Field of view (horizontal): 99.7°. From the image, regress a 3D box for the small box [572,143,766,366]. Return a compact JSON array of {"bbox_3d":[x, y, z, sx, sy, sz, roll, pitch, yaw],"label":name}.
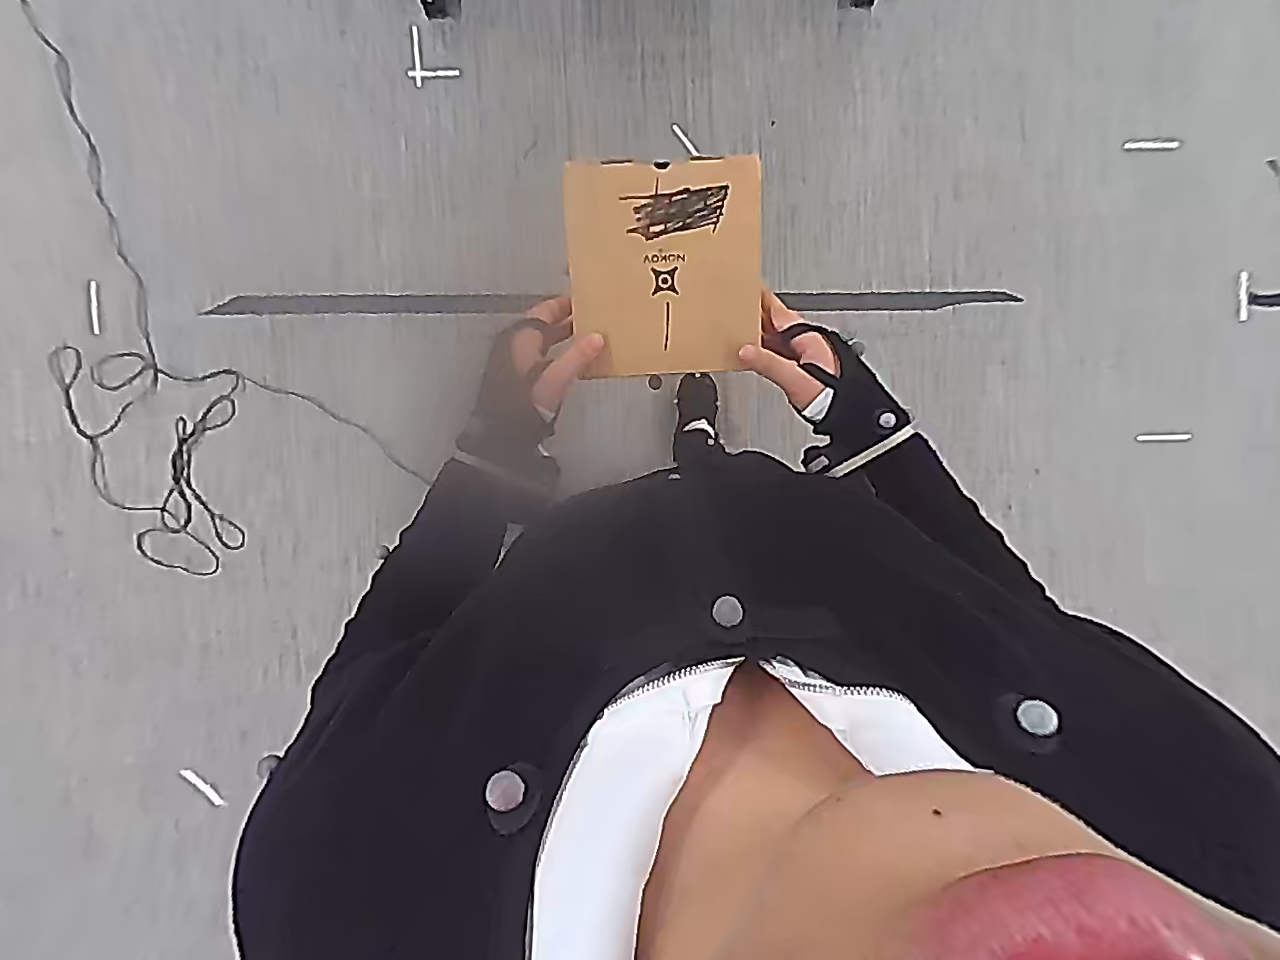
[{"bbox_3d":[0.023,-0.207,0.540,0.168,0.176,0.179,-3,102,-1],"label":"small box"}]
